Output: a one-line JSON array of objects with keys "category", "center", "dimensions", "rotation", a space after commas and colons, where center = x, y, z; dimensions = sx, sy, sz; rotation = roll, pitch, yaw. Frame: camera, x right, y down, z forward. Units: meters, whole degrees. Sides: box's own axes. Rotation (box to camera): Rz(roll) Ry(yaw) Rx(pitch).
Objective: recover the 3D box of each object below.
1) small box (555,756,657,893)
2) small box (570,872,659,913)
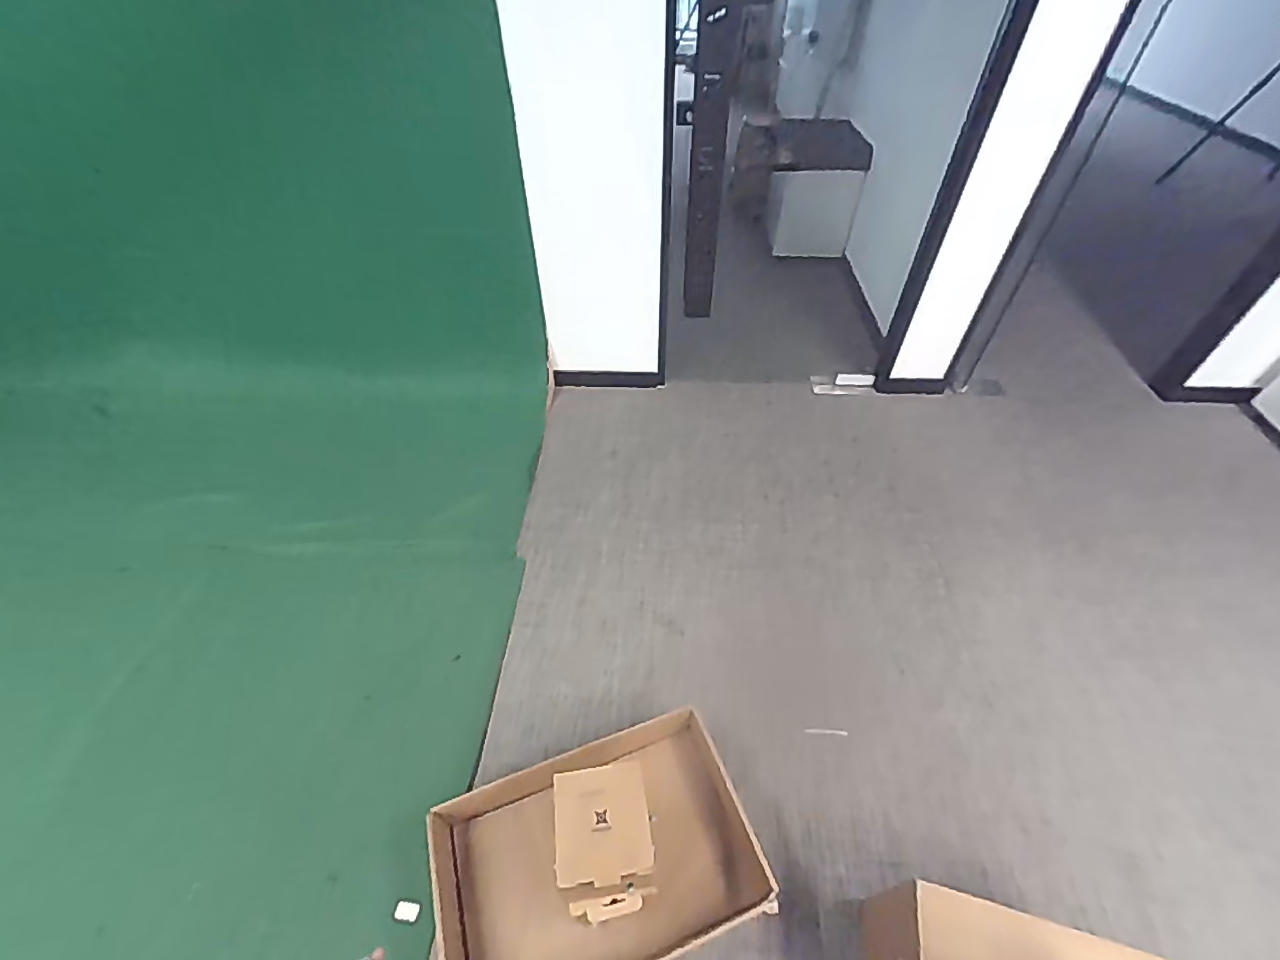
[{"category": "small box", "center": [-0.062, 0.645, 1.007], "dimensions": [0.168, 0.176, 0.179], "rotation": [-7, 45, -6]}, {"category": "small box", "center": [-0.059, 0.766, 1.115], "dimensions": [0.168, 0.176, 0.179], "rotation": [-11, 46, -7]}]
